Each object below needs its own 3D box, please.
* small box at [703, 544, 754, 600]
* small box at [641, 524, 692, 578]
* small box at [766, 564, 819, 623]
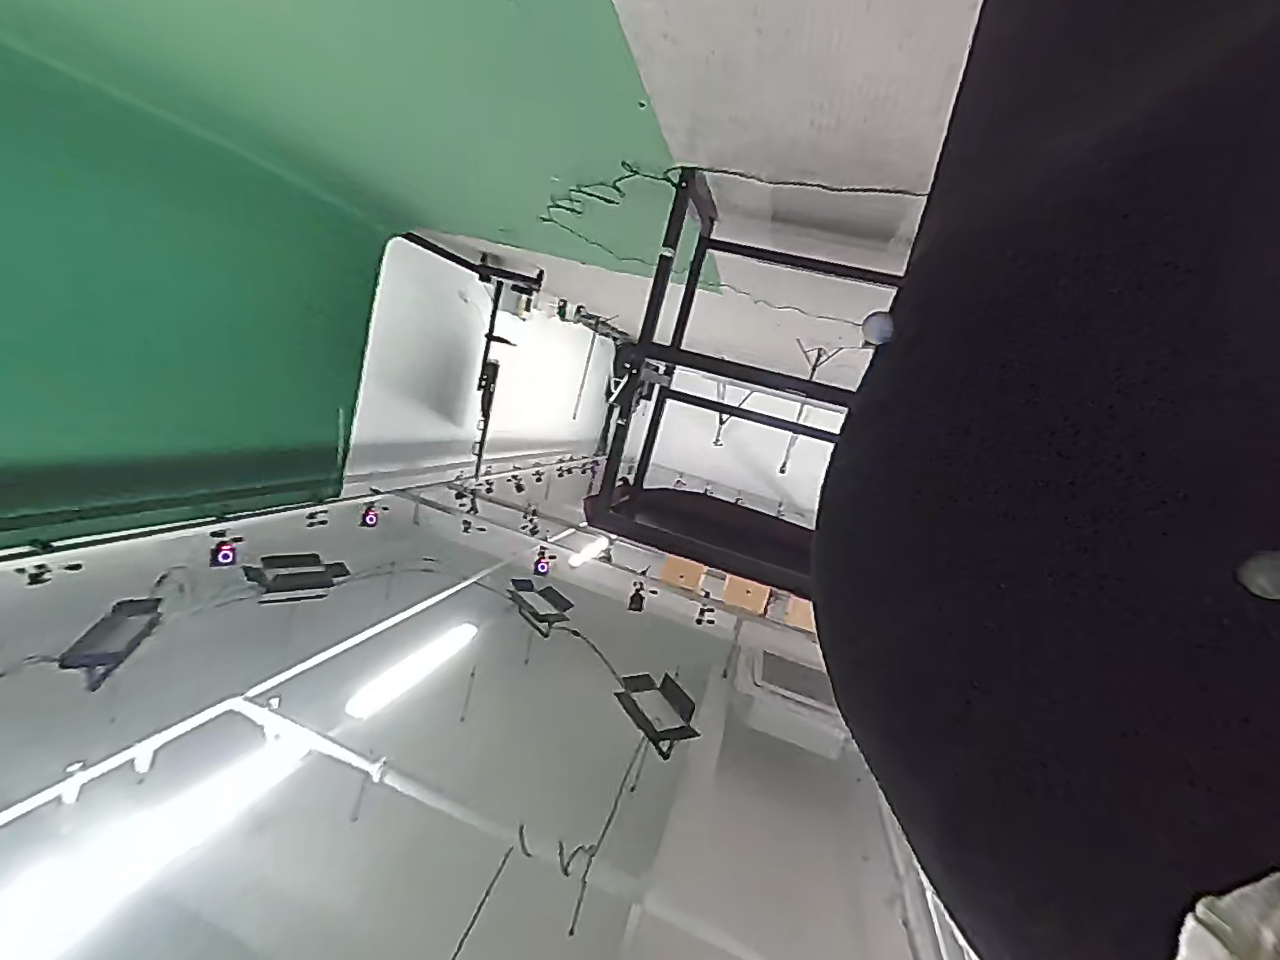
[{"bbox_3d":[0.383,0.393,2.353,0.179,0.176,0.168,16,-168,7],"label":"small box"},{"bbox_3d":[0.124,0.310,2.397,0.179,0.176,0.168,18,-169,11],"label":"small box"},{"bbox_3d":[0.645,0.478,2.295,0.179,0.176,0.168,17,-170,9],"label":"small box"}]
